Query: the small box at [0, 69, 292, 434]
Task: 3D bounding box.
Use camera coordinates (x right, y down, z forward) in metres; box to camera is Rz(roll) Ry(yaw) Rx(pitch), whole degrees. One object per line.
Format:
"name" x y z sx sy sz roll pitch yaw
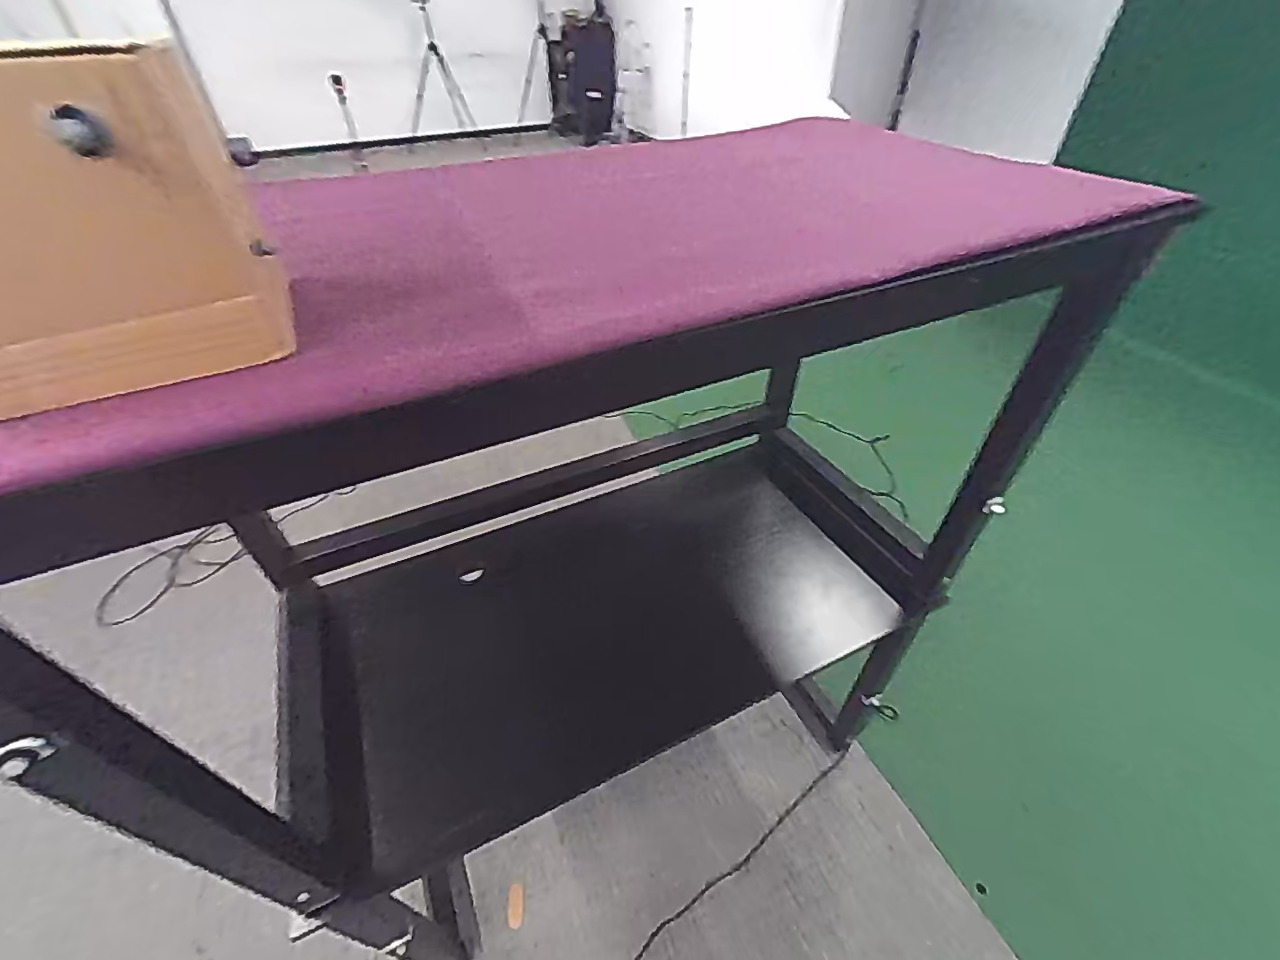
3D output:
"small box" -0.356 -0.150 0.345 0.179 0.176 0.168 -20 44 -20
